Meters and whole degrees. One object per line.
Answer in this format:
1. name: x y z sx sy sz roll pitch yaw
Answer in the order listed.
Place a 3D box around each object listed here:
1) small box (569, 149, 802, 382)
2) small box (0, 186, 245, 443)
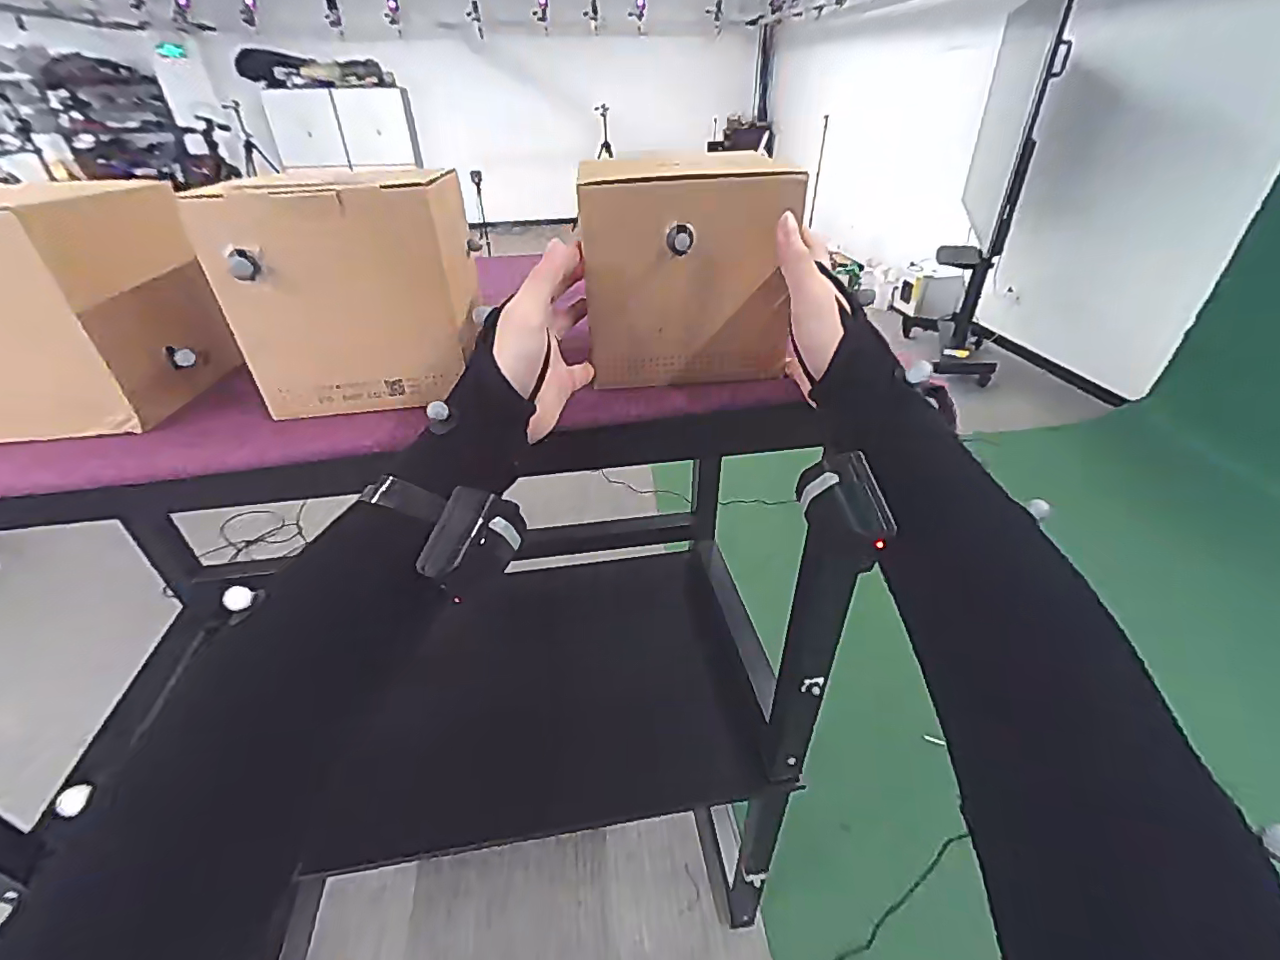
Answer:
1. small box: 0.034 -0.200 0.505 0.179 0.176 0.168 -4 36 -2
2. small box: -0.486 -0.138 0.448 0.179 0.176 0.168 -4 34 -4
